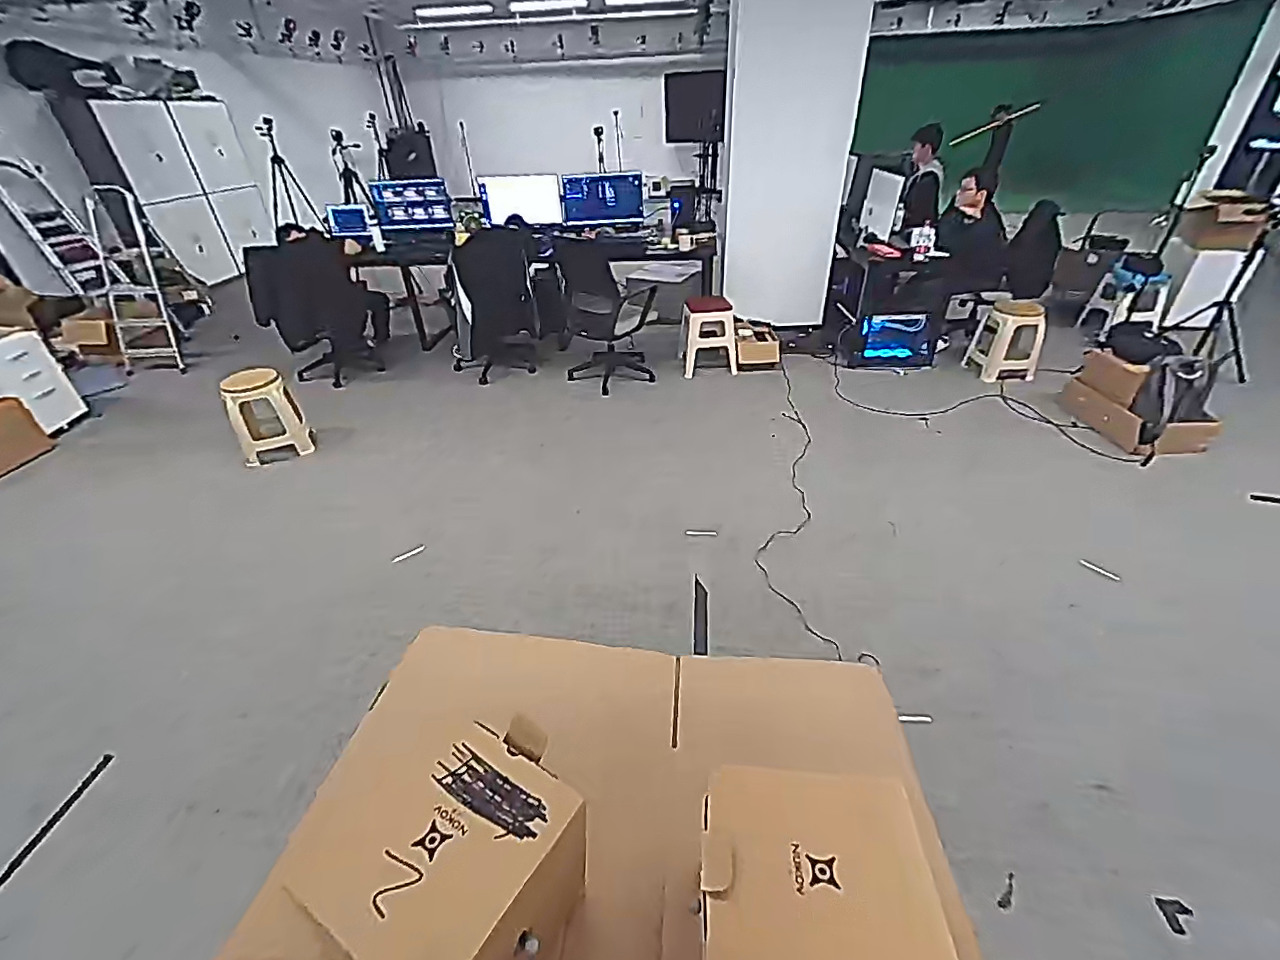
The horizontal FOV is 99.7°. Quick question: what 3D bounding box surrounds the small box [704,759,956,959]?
[{"bbox_3d":[0.146,0.378,0.476,0.179,0.176,0.168,0,30,7],"label":"small box"}]
